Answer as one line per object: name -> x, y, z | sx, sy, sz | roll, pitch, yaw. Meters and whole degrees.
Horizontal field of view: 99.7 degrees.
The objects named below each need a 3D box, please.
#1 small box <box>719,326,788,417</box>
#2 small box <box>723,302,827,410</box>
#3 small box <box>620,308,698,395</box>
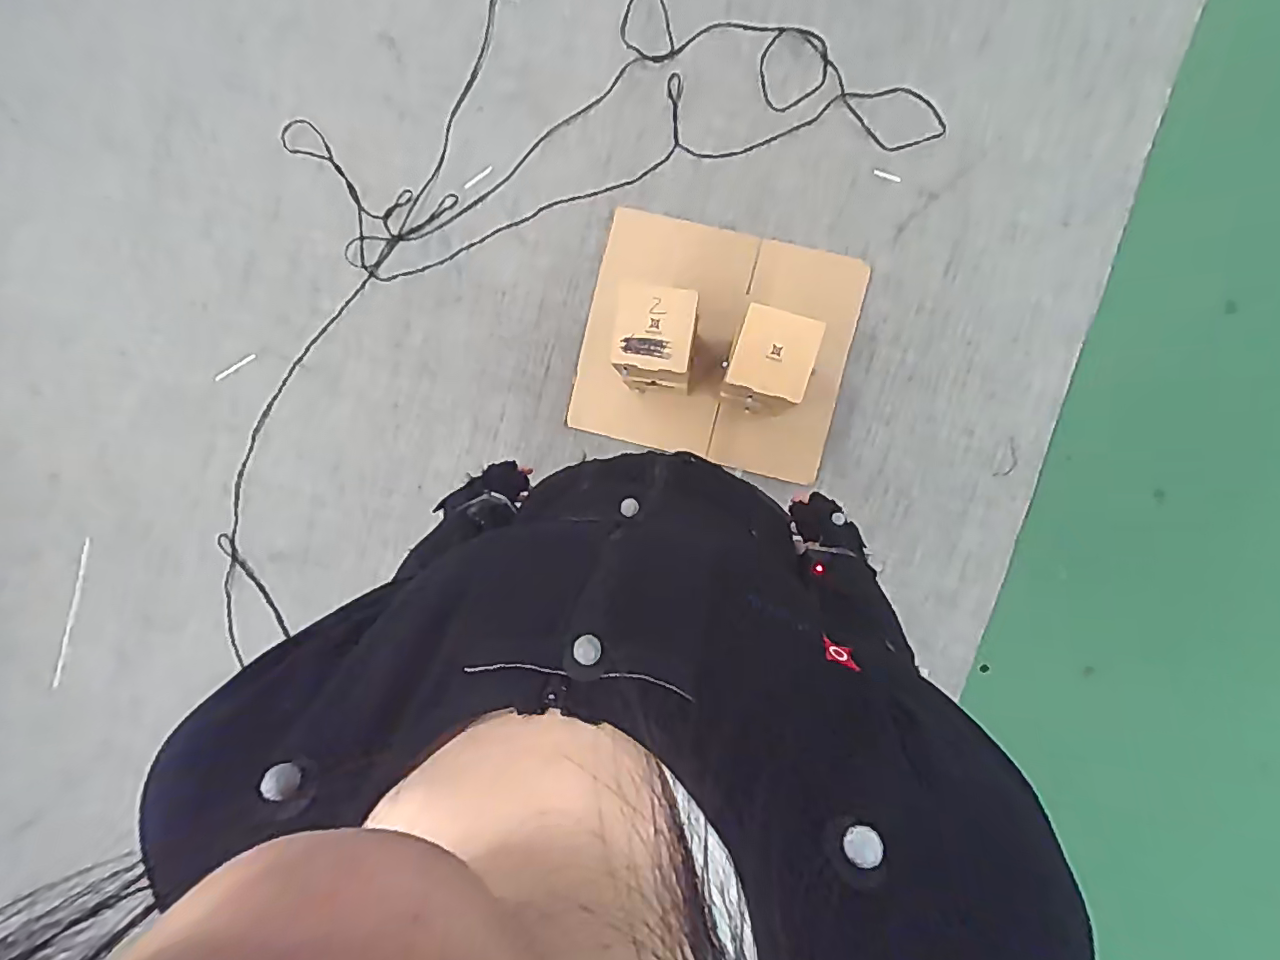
small box -> 0.299, -0.266, 1.358 | 0.168, 0.176, 0.179 | 14, 94, 6
small box -> 0.288, -0.265, 1.196 | 0.168, 0.176, 0.179 | 17, 94, 4
small box -> 0.053, -0.318, 1.373 | 0.168, 0.176, 0.179 | 10, 93, 4
